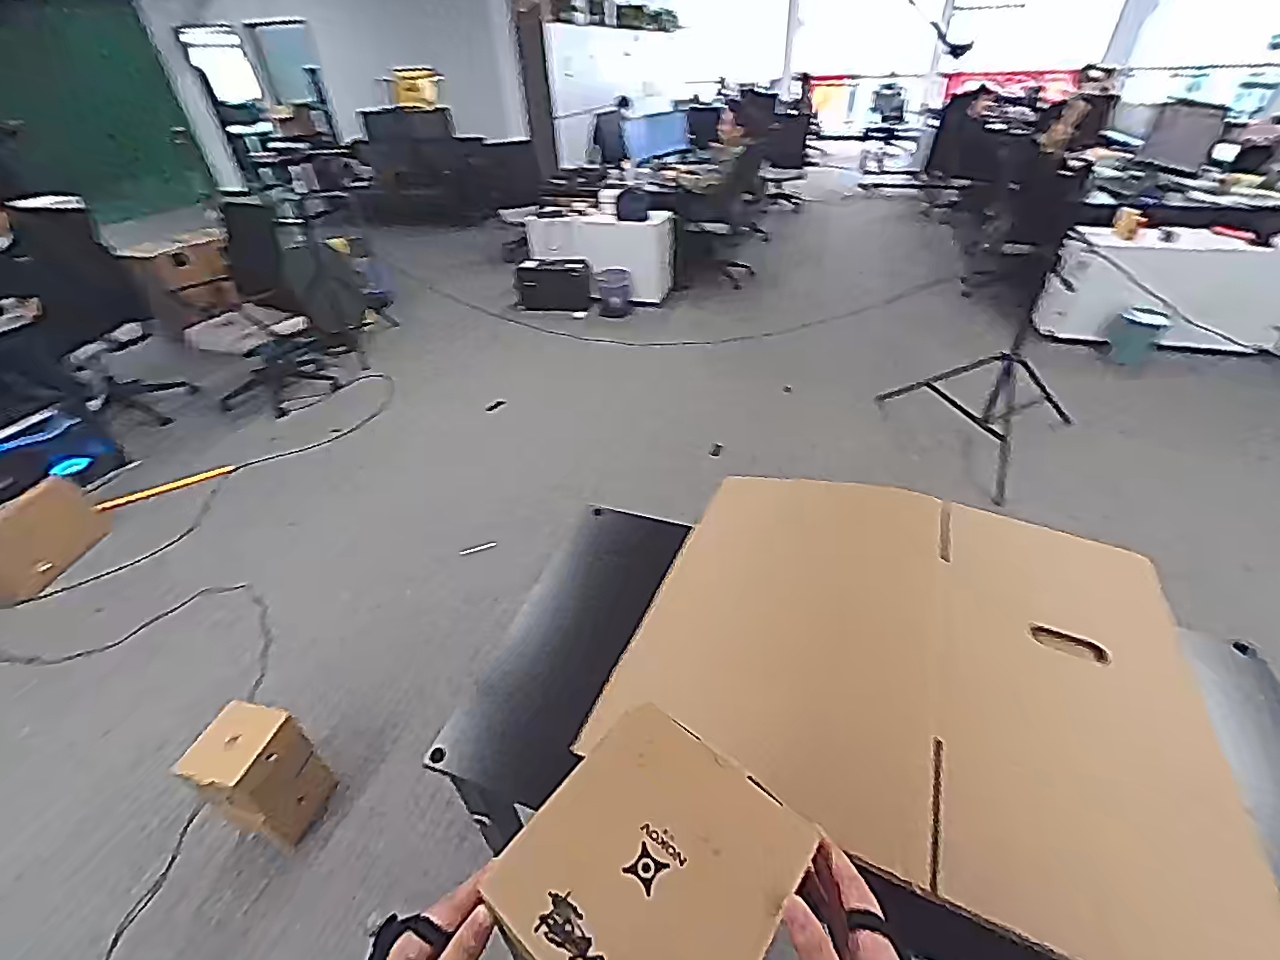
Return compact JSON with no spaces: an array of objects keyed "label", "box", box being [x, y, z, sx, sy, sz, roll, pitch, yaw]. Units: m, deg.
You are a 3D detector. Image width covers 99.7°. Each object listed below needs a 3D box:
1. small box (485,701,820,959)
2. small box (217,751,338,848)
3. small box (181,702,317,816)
[{"label":"small box","box":[0.010,0.320,0.413,0.168,0.176,0.179,25,42,31]},{"label":"small box","box":[-0.914,0.801,1.387,0.168,0.176,0.179,8,39,14]},{"label":"small box","box":[-0.919,0.668,1.294,0.168,0.176,0.179,7,37,10]}]
